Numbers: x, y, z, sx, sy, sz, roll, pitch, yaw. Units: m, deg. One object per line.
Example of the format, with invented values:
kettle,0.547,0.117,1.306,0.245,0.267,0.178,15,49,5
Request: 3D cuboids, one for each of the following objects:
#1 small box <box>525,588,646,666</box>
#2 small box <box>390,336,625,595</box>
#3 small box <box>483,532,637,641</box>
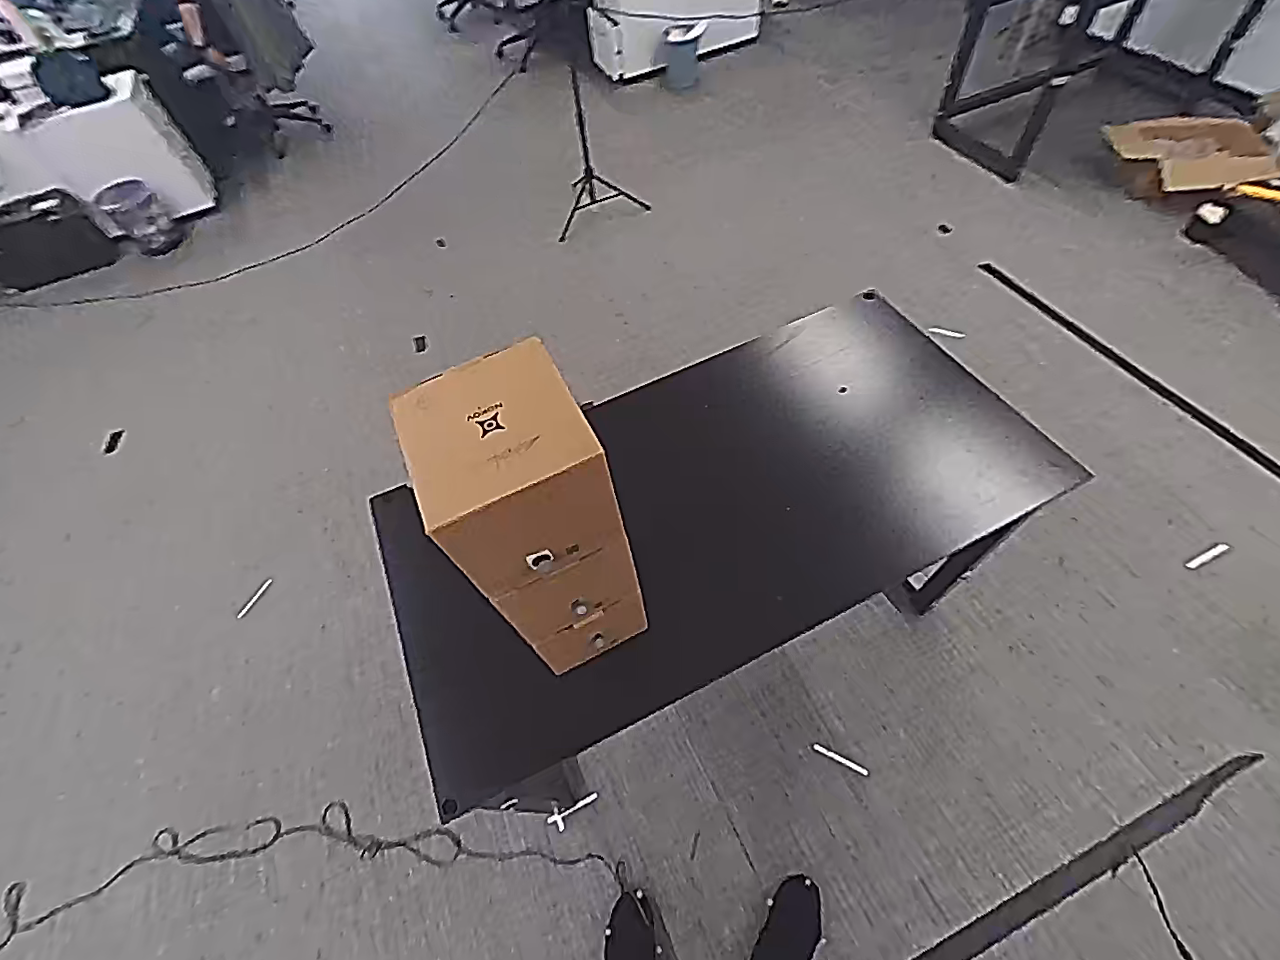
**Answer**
small box,-0.101,0.169,0.839,0.168,0.176,0.179,-25,58,-10
small box,-0.130,-0.010,0.566,0.168,0.176,0.179,-26,58,-9
small box,-0.116,0.078,0.702,0.168,0.176,0.179,-25,58,-10
